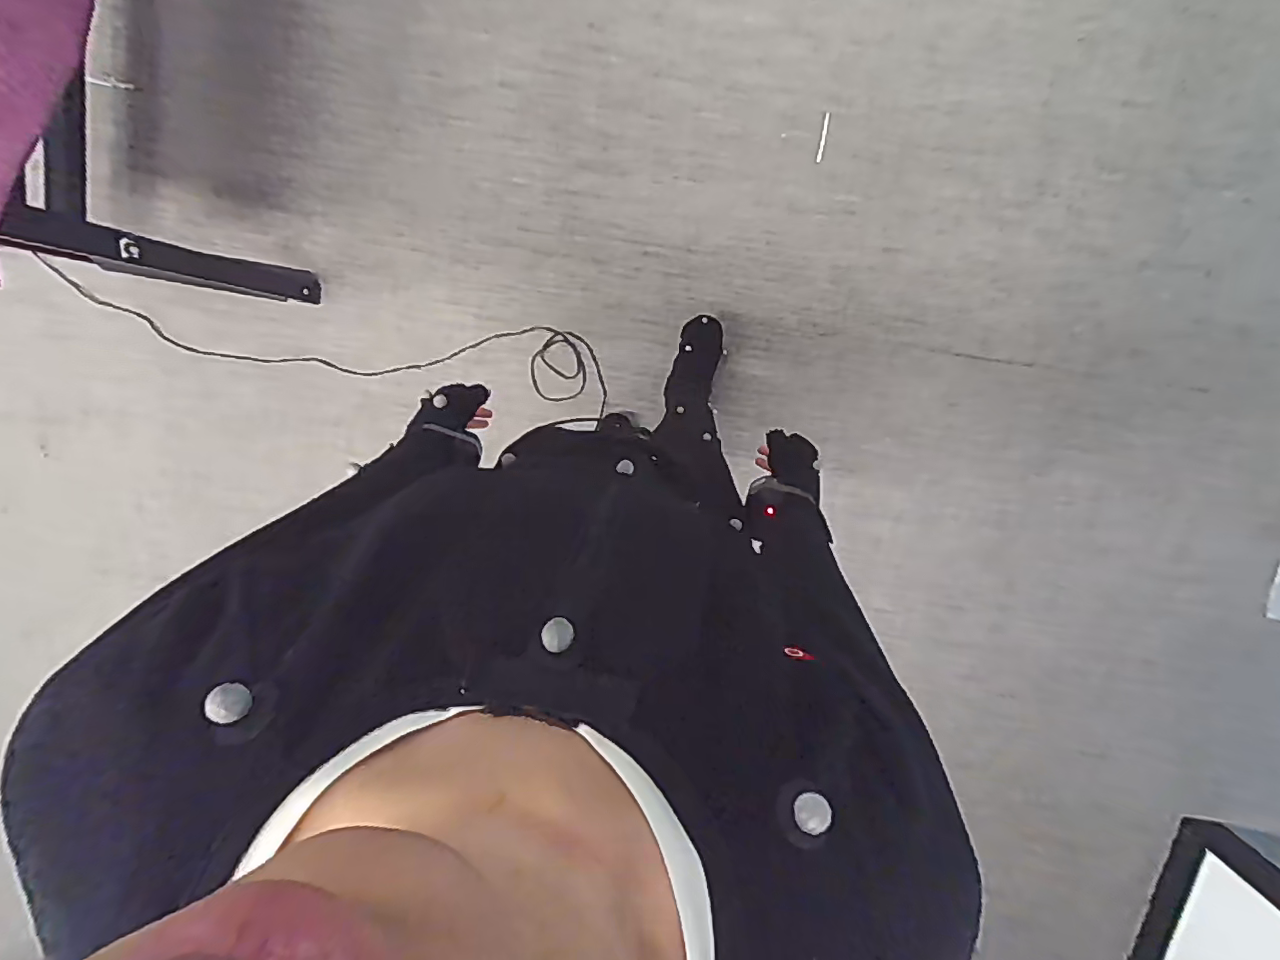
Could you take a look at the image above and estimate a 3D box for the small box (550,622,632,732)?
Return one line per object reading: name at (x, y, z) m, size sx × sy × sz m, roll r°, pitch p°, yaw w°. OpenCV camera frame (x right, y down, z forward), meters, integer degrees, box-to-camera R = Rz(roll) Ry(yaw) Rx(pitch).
small box at (-0.112, 0.471, 1.313) m, size 0.168 × 0.176 × 0.179 m, roll 9°, pitch 102°, yaw 0°
